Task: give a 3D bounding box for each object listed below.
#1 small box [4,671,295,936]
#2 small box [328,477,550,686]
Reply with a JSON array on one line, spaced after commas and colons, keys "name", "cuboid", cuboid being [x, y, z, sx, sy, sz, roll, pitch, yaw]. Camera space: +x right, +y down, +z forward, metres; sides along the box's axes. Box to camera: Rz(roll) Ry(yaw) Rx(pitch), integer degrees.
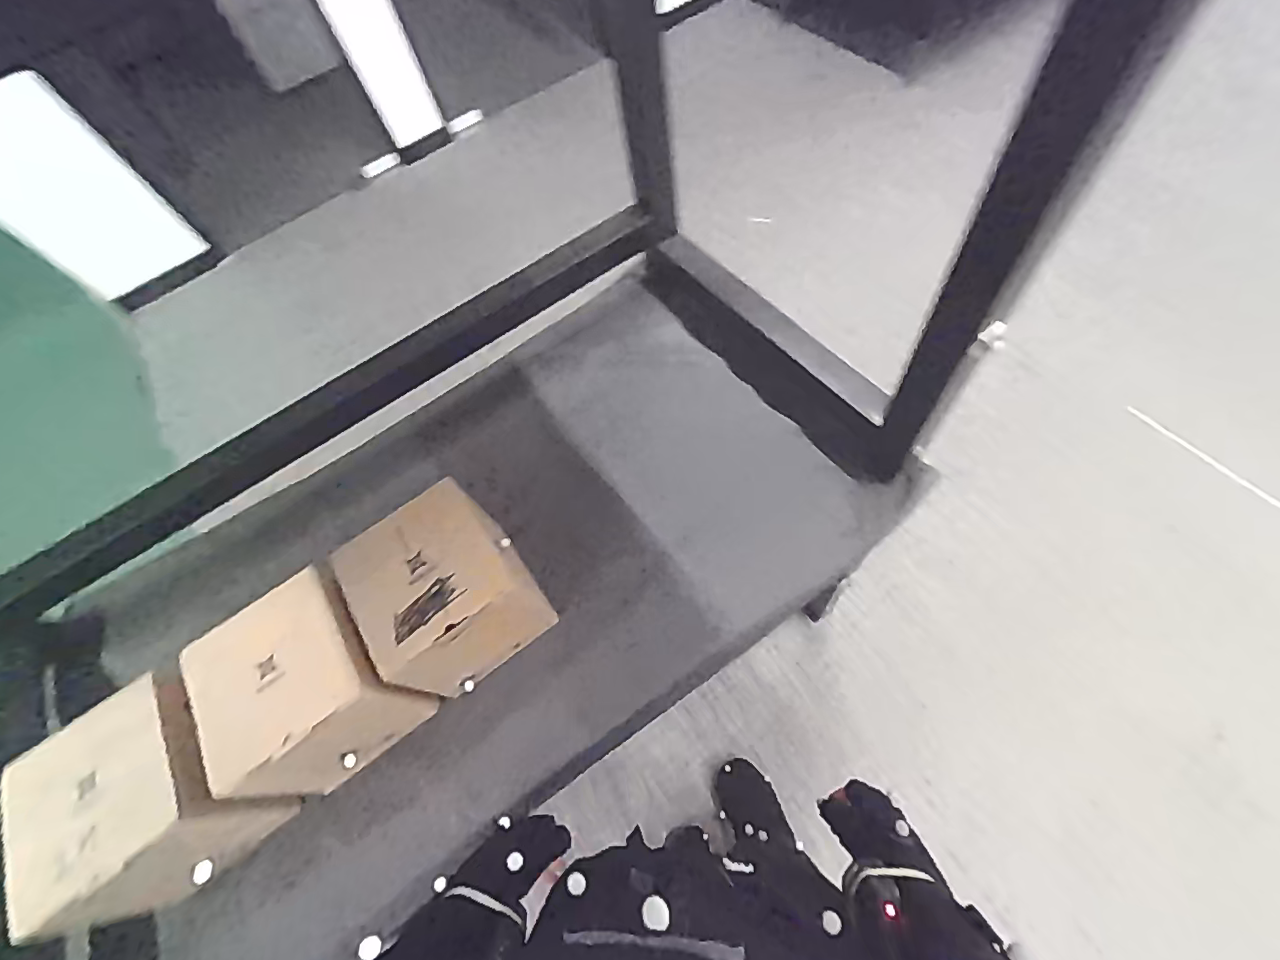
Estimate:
[{"name": "small box", "cuboid": [-0.537, 0.350, 0.609, 0.168, 0.176, 0.179, -37, 62, -10]}, {"name": "small box", "cuboid": [-0.237, 0.135, 0.673, 0.168, 0.176, 0.179, -36, 62, -10]}]
